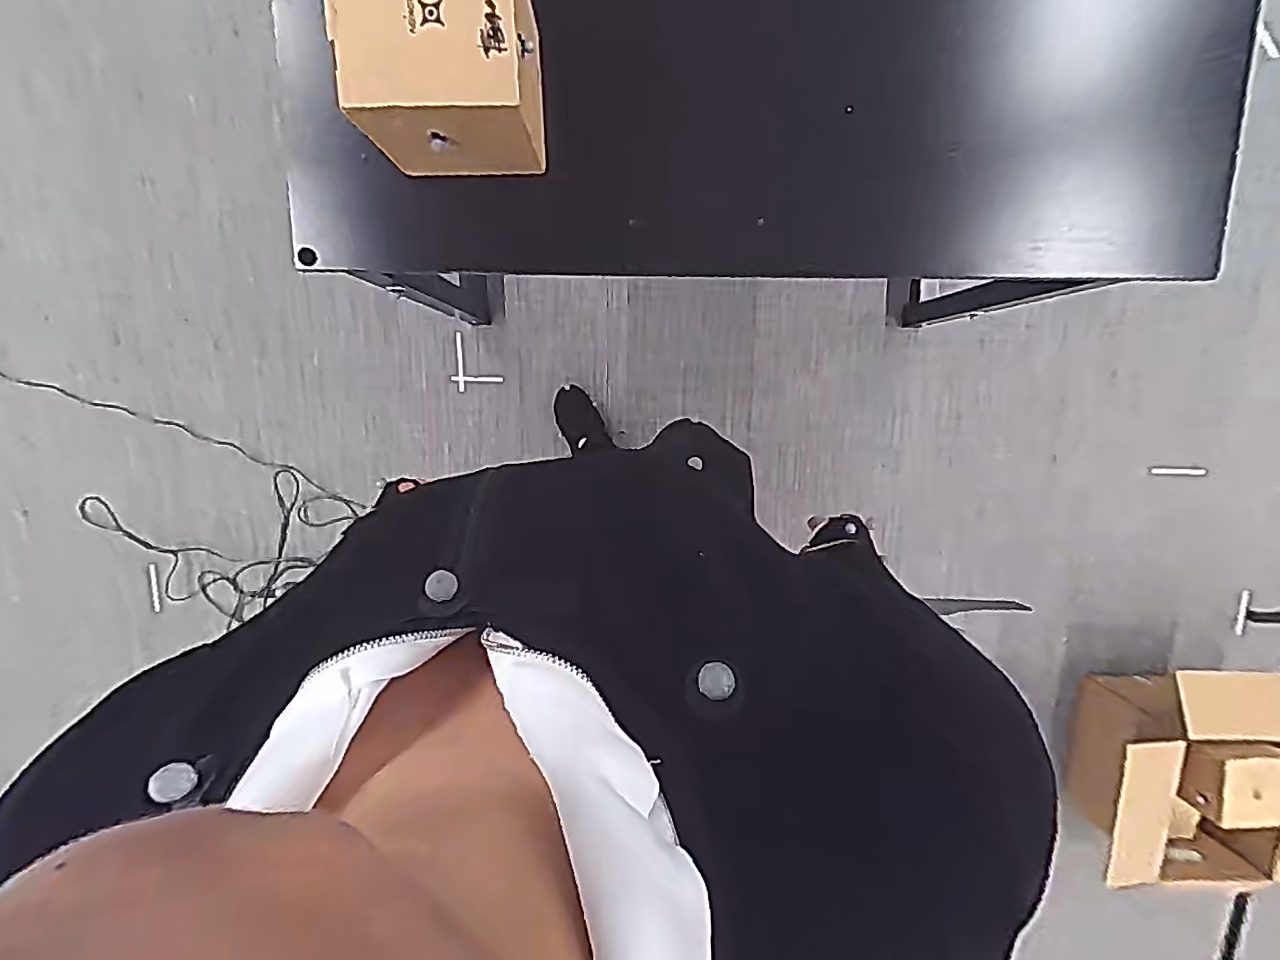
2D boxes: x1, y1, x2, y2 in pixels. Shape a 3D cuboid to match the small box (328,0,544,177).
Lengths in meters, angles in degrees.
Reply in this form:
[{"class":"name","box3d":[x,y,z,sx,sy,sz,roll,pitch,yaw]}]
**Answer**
[{"class":"small box","box3d":[-0.209,-0.451,0.591,0.179,0.176,0.168,-2,99,-1]}]
